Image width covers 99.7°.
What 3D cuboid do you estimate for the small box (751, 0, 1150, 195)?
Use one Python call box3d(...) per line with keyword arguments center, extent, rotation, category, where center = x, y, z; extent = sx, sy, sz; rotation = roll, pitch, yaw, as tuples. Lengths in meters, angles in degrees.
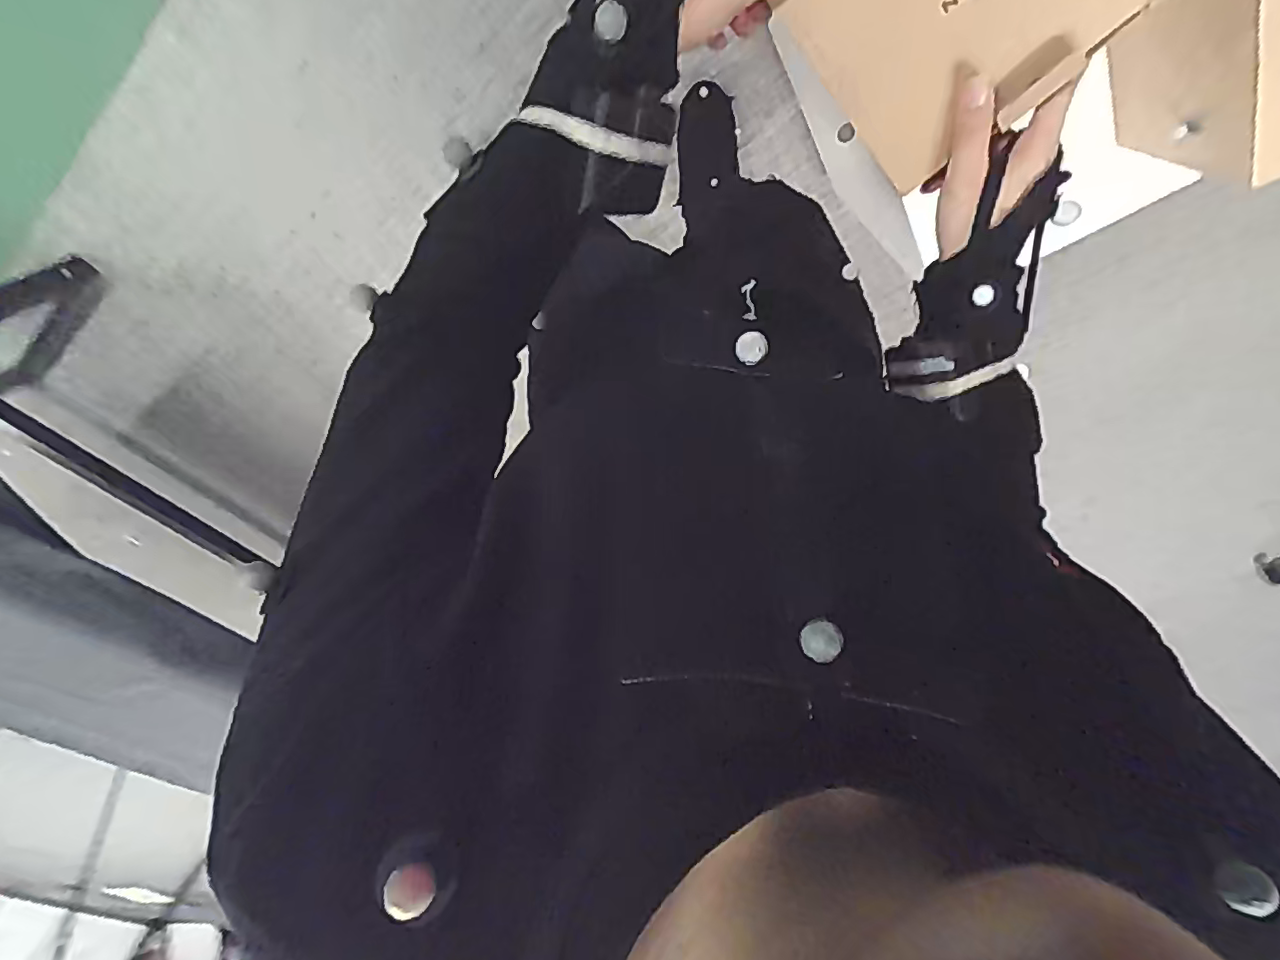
box3d(center=(0.178, -0.325, 0.331), extent=(0.179, 0.176, 0.168), rotation=(39, 132, -19), category="small box")
